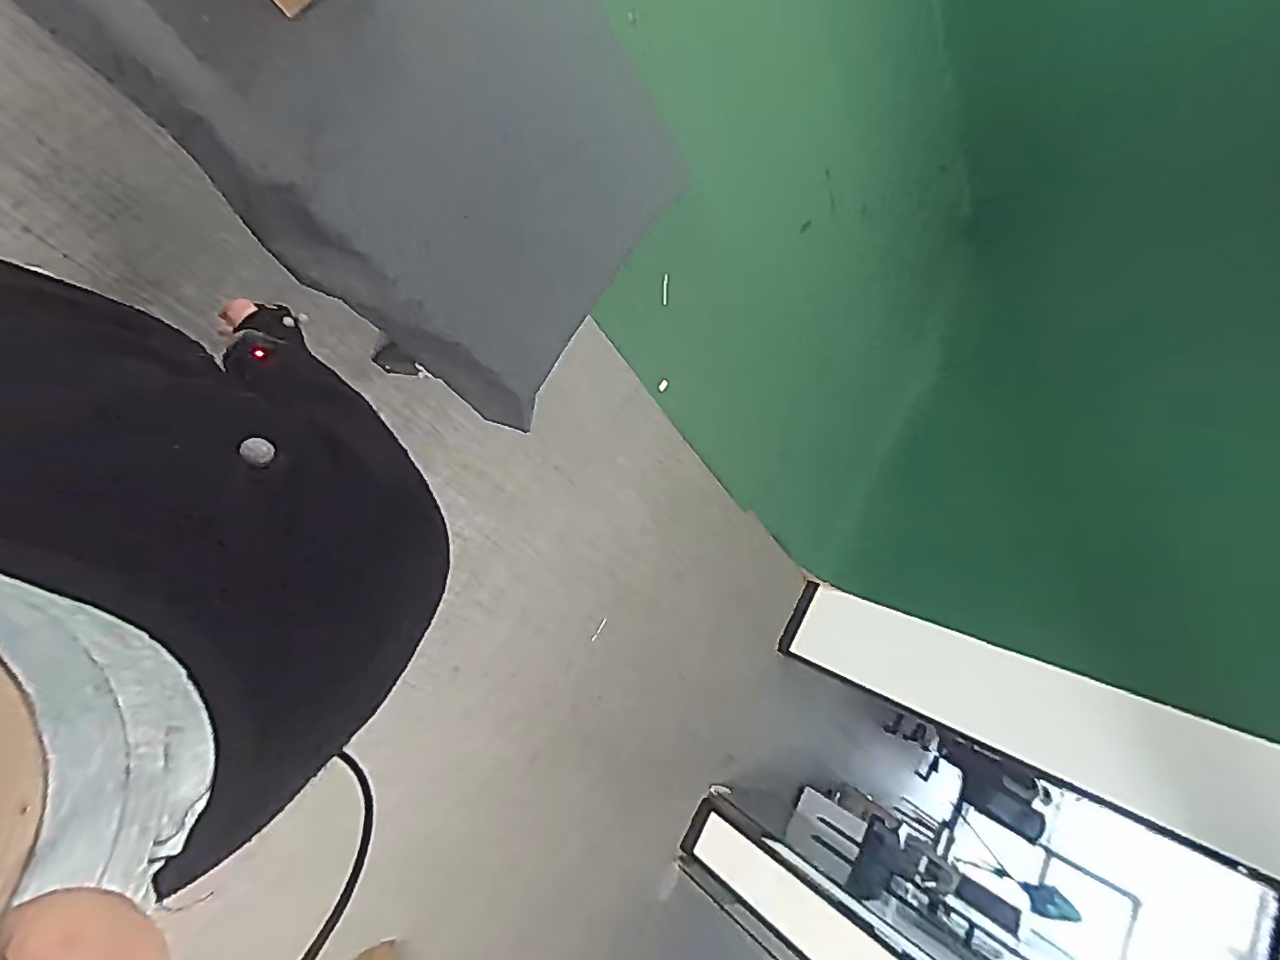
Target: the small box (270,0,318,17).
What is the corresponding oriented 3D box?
[{"bbox_3d":[-0.375,-0.653,0.573,0.168,0.176,0.179,44,69,-43],"label":"small box"}]
